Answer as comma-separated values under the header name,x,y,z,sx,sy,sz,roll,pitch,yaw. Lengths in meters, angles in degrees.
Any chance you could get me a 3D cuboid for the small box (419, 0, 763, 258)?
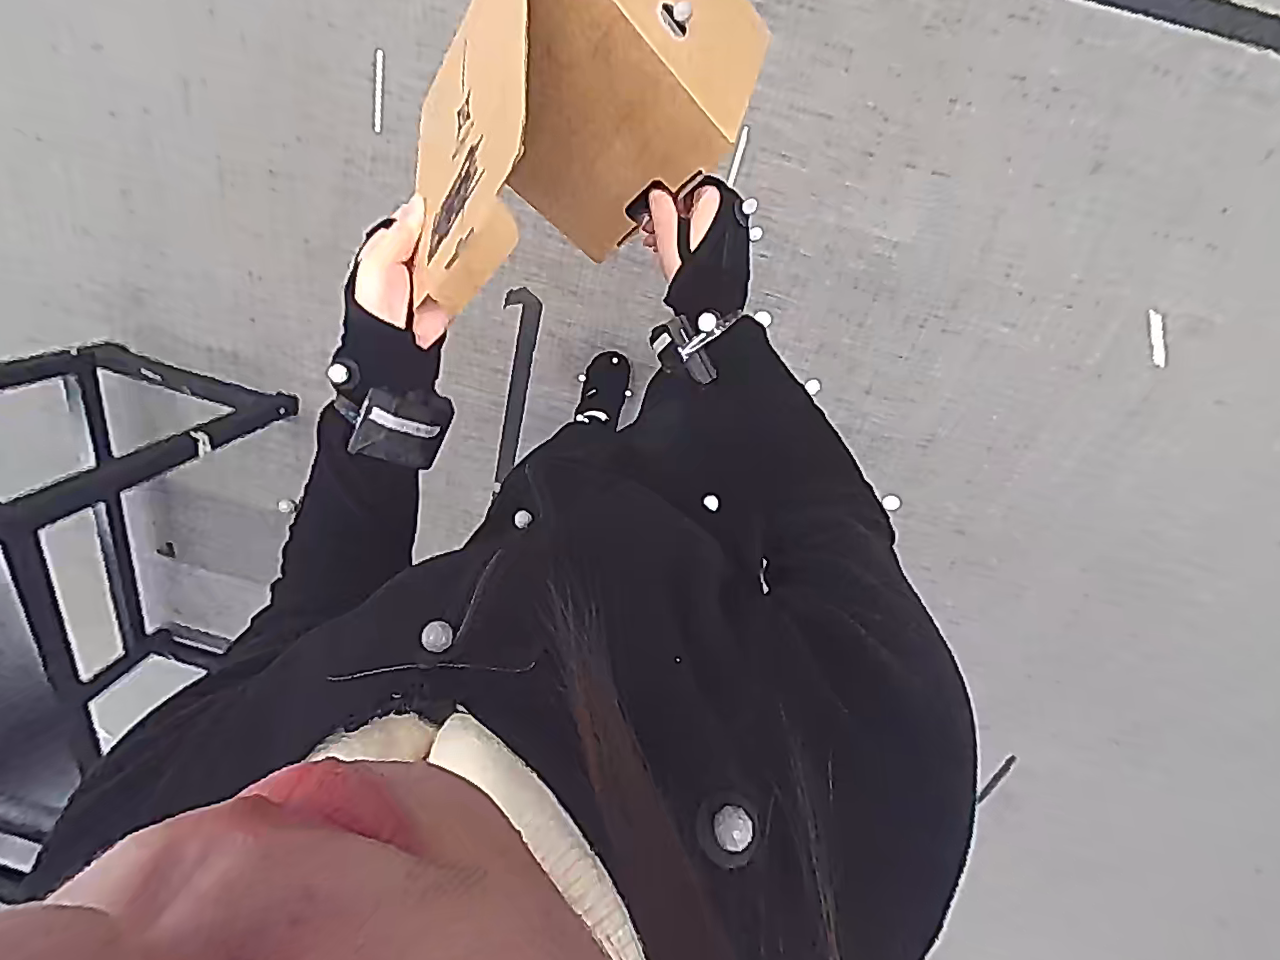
name,x,y,z,sx,sy,sz,roll,pitch,yaw
small box,-0.027,-0.321,0.414,0.179,0.176,0.168,35,147,-28
